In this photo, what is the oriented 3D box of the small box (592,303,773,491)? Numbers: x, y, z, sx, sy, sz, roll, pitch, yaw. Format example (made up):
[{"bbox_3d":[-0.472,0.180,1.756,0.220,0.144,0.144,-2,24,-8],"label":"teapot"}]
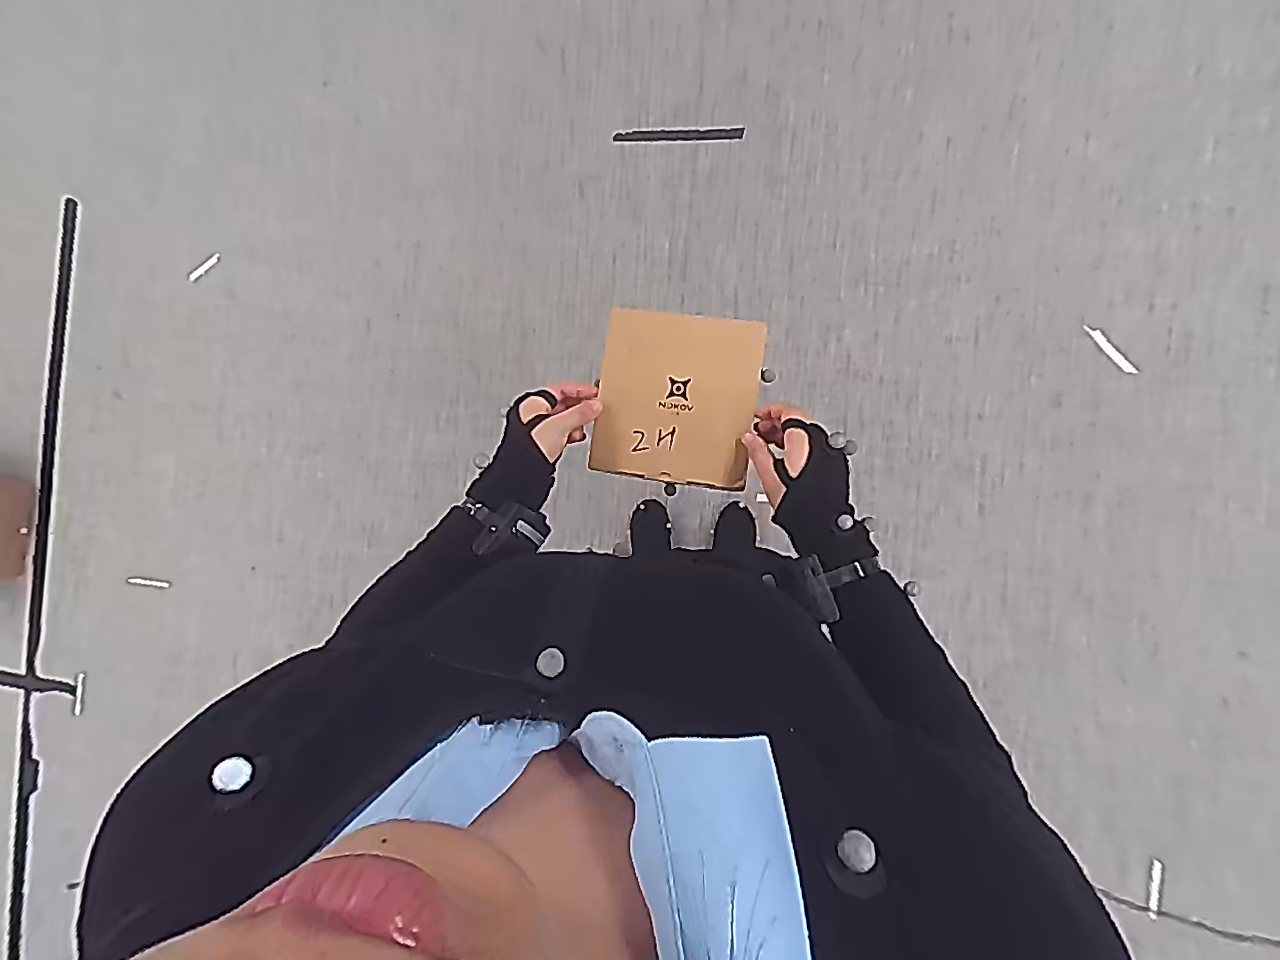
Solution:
[{"bbox_3d":[0.051,-0.085,0.629,0.168,0.176,0.179,8,90,7],"label":"small box"}]
